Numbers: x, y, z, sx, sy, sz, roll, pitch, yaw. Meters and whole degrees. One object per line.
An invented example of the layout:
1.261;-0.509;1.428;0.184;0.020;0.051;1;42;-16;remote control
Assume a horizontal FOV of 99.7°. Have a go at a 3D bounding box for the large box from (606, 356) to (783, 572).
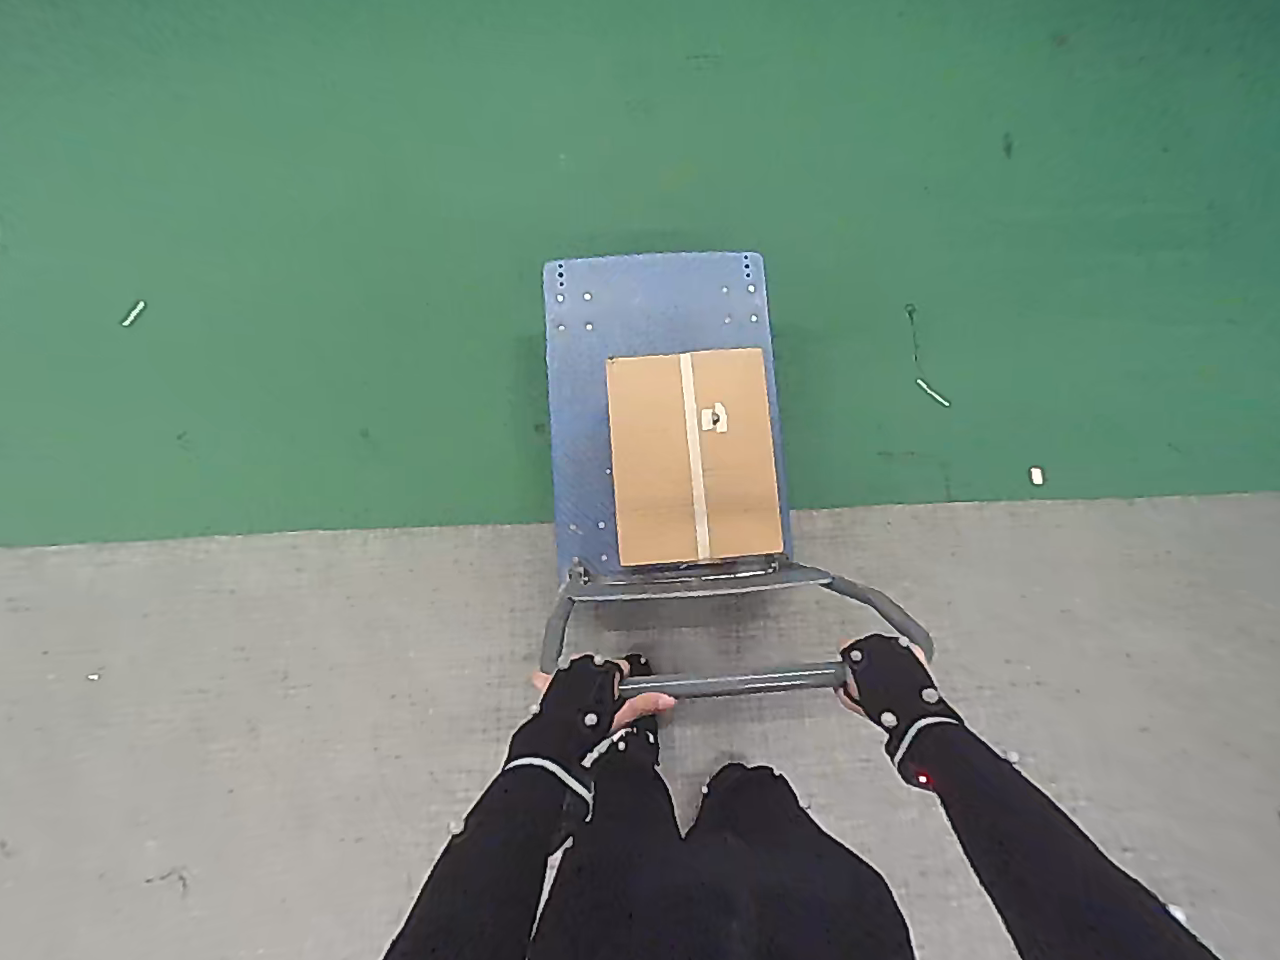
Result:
0.101;-0.019;1.190;0.320;0.320;0.408;-4;84;-3;large box
